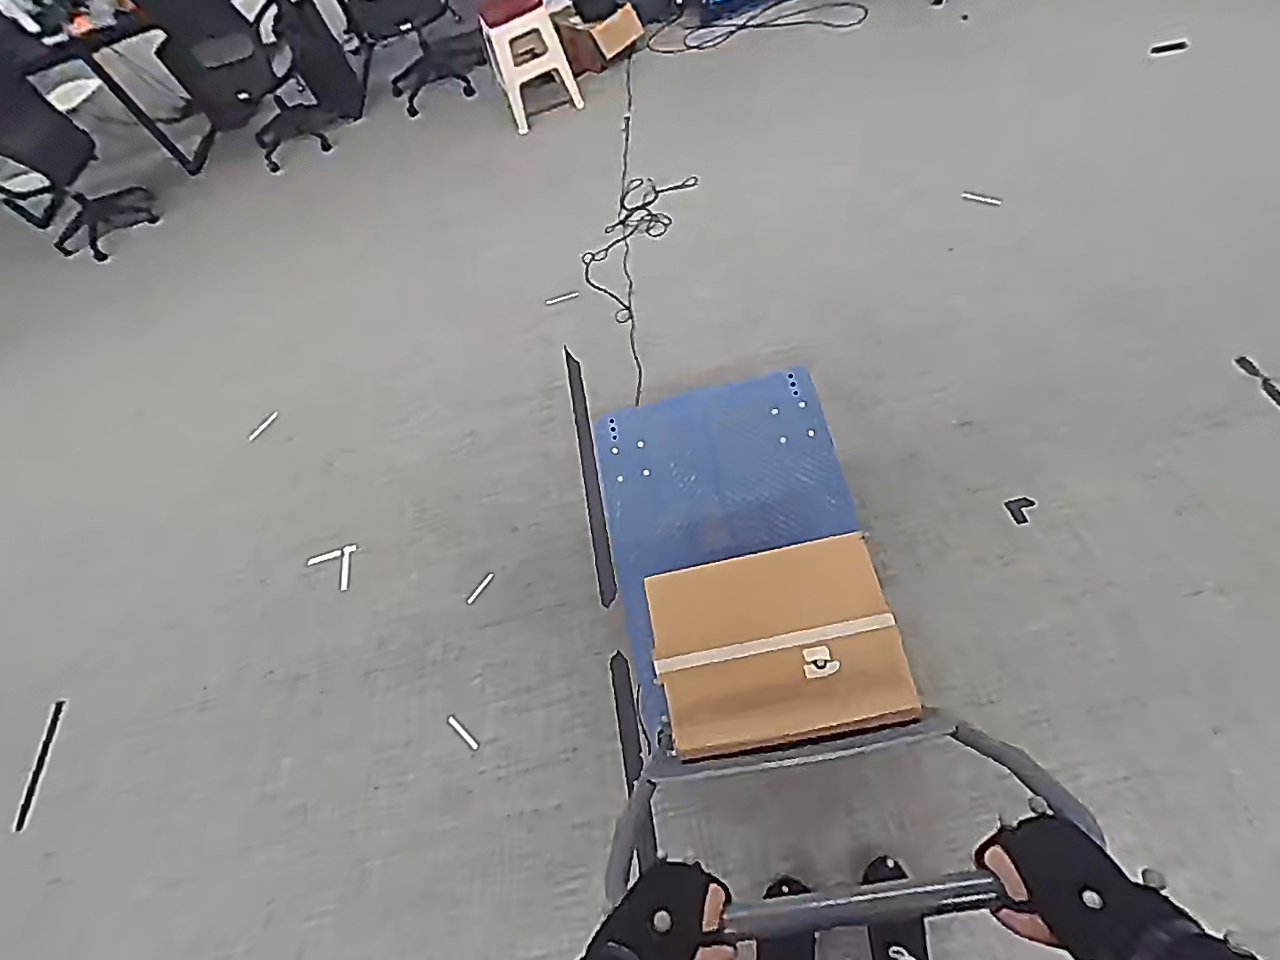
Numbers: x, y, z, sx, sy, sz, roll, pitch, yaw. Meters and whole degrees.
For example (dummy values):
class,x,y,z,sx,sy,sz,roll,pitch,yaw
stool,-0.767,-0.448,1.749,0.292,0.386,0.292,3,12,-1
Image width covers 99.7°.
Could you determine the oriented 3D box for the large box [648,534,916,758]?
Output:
class,x,y,z,sx,sy,sz,roll,pitch,yaw
large box,0.257,0.331,1.088,0.408,0.320,0.320,-13,71,5
